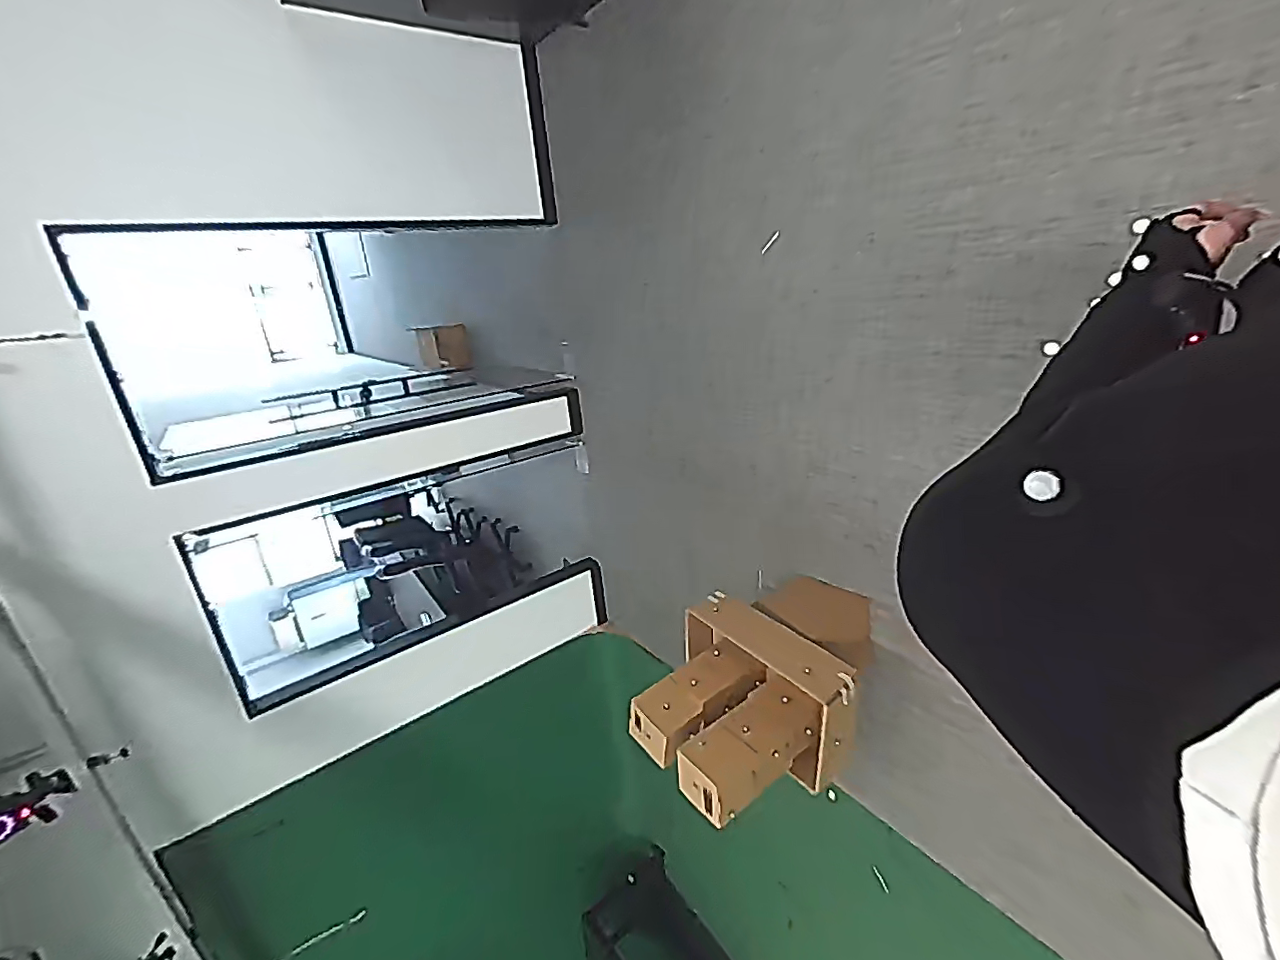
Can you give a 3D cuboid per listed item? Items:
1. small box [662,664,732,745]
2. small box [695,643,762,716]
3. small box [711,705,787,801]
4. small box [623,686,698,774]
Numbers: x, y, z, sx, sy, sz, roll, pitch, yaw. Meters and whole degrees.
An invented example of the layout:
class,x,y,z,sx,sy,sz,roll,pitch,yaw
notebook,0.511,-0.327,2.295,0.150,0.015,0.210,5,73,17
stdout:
class,x,y,z,sx,sy,sz,roll,pitch,yaw
small box,0.196,0.766,1.875,0.179,0.176,0.168,21,121,46
small box,0.320,0.723,1.969,0.179,0.176,0.168,23,123,47
small box,0.343,0.847,1.700,0.179,0.176,0.168,22,121,50
small box,0.067,0.812,1.785,0.179,0.176,0.168,31,129,41
